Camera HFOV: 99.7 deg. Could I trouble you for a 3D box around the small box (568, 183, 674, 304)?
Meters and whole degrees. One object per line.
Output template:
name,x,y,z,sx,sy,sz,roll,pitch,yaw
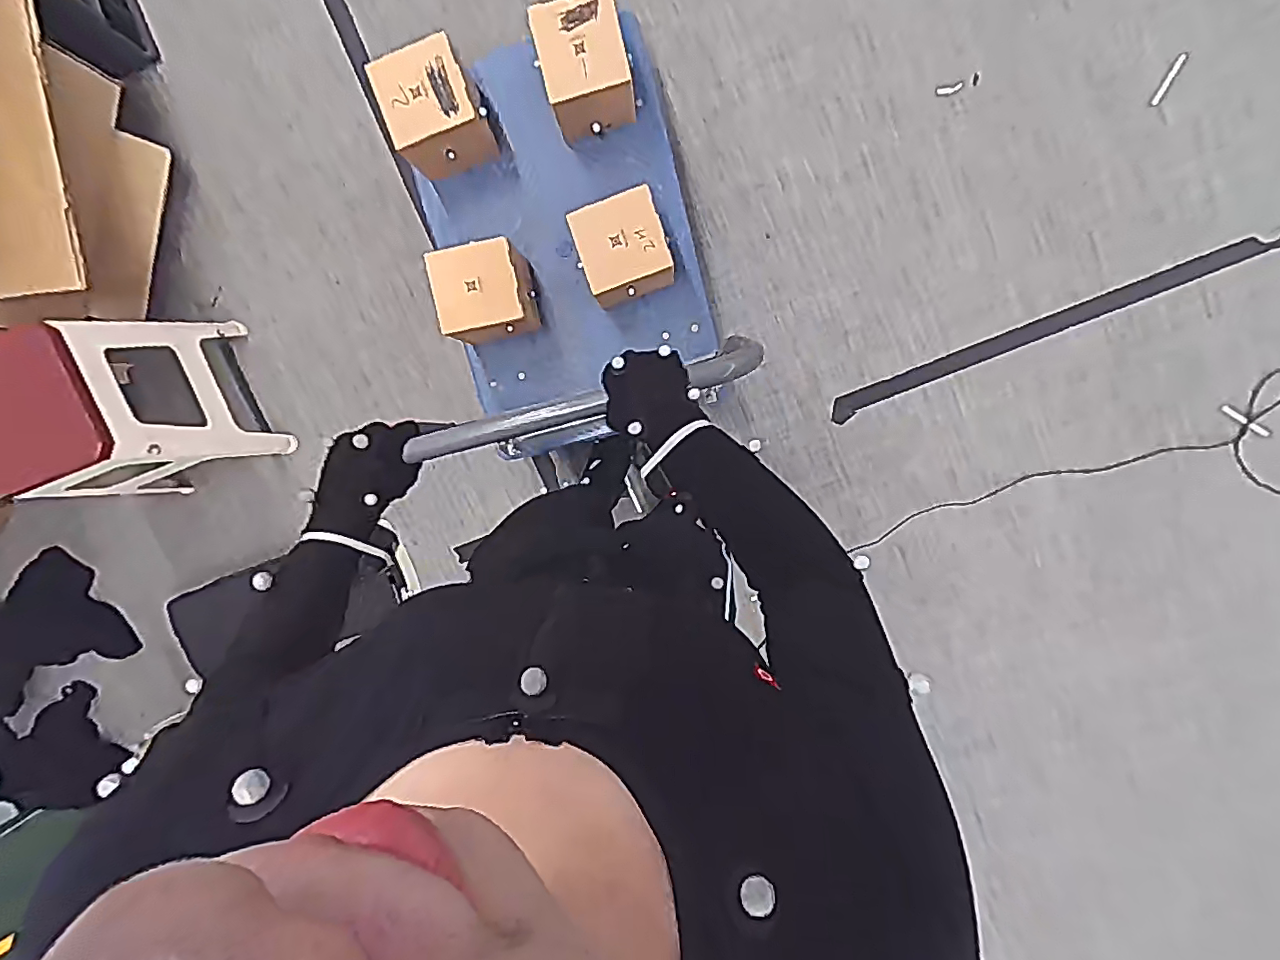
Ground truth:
small box,-0.032,-0.488,1.145,0.179,0.176,0.168,-18,98,5

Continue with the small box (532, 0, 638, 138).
small box,-0.104,-0.840,1.094,0.168,0.176,0.179,-13,99,5

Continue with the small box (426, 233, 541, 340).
small box,-0.329,-0.409,1.171,0.179,0.176,0.168,-11,97,2
